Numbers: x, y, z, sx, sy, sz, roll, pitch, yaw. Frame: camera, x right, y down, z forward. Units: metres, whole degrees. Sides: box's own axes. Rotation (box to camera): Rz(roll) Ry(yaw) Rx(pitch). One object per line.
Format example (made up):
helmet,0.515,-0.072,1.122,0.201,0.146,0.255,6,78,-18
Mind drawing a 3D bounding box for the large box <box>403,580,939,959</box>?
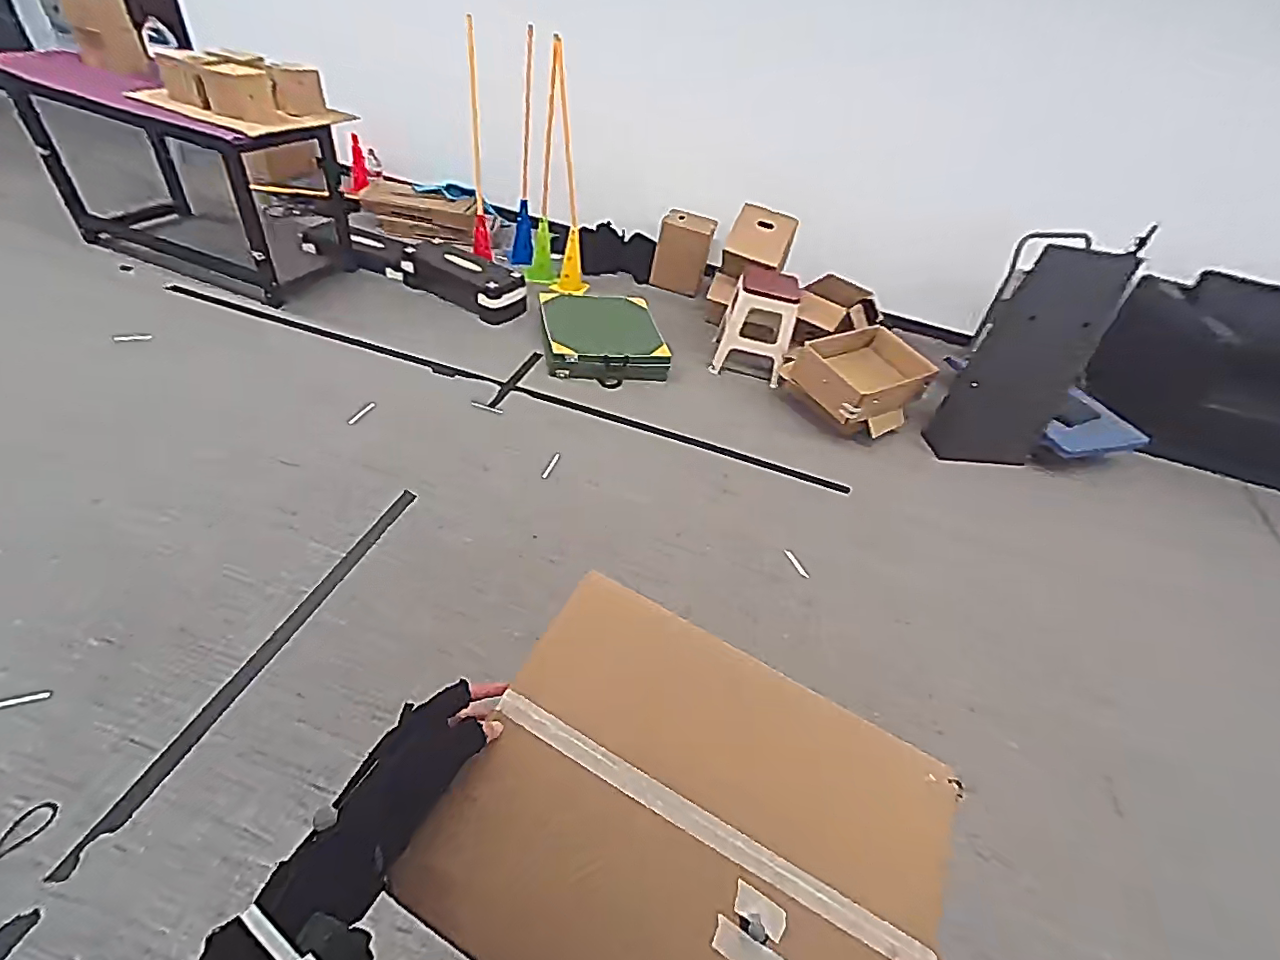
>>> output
large box,0.031,0.383,0.597,0.408,0.320,0.320,27,55,11
